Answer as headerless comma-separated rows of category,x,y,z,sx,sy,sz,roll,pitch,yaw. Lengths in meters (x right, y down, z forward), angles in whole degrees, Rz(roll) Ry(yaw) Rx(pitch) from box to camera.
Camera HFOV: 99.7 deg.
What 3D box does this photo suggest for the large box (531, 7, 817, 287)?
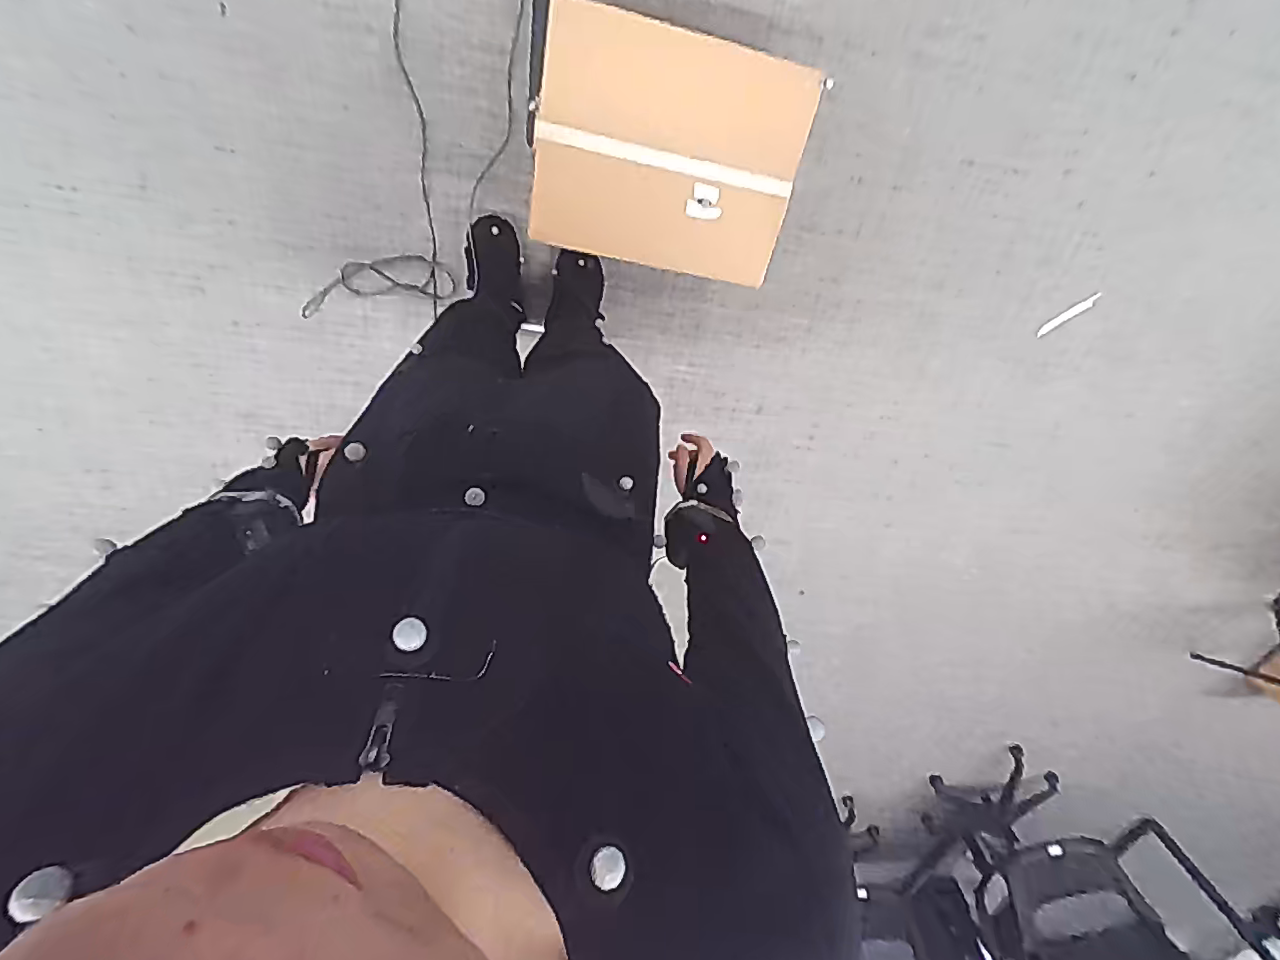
large box,0.024,-0.566,0.964,0.408,0.320,0.320,7,122,-12
